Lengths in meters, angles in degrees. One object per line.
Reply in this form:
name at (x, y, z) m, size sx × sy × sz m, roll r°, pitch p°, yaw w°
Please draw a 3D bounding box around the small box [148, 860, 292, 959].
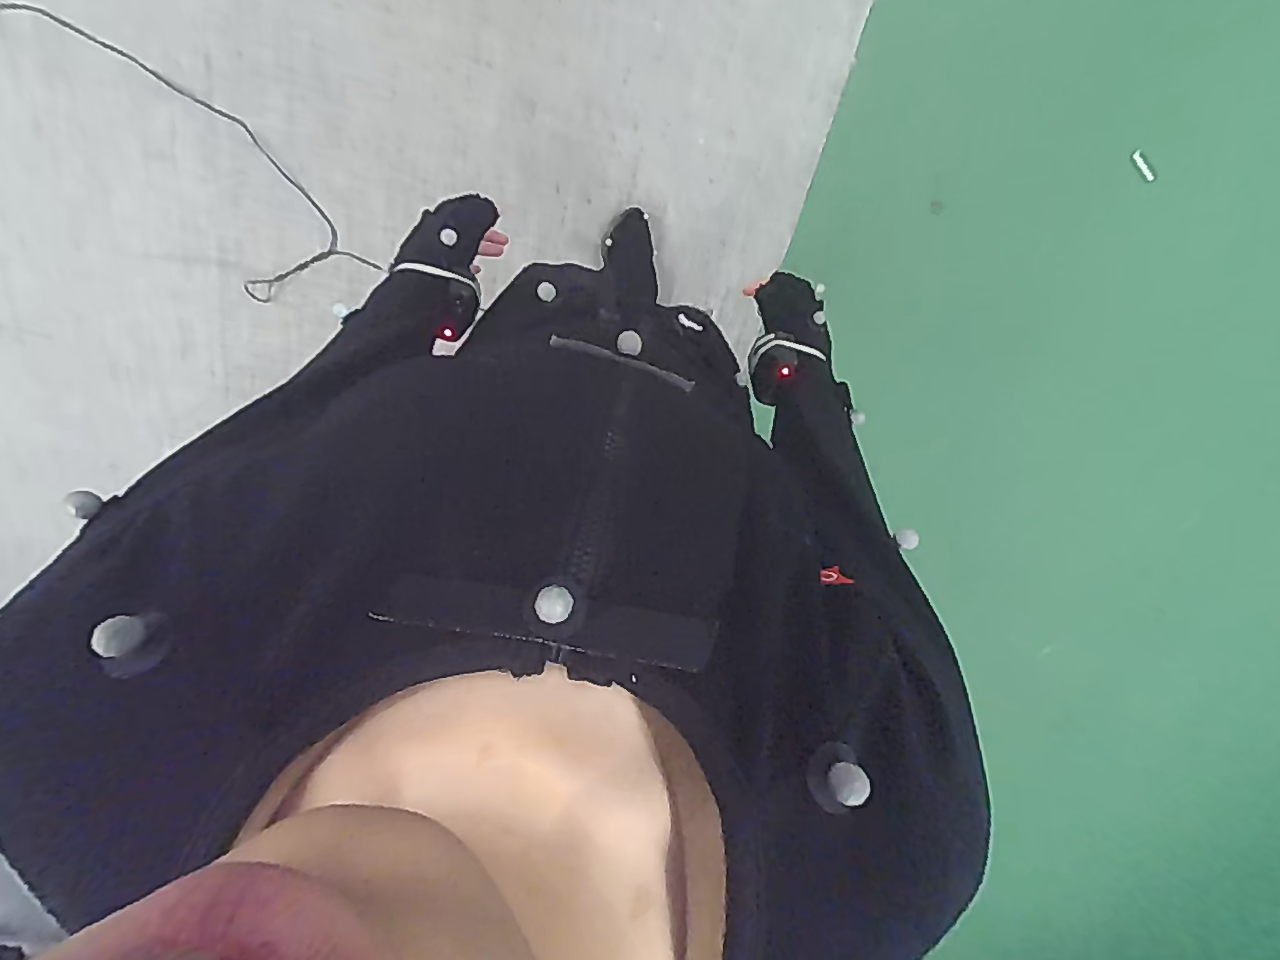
small box at (-0.847, 0.928, 1.112) m, size 0.168 × 0.176 × 0.179 m, roll 12°, pitch 115°, yaw -4°
